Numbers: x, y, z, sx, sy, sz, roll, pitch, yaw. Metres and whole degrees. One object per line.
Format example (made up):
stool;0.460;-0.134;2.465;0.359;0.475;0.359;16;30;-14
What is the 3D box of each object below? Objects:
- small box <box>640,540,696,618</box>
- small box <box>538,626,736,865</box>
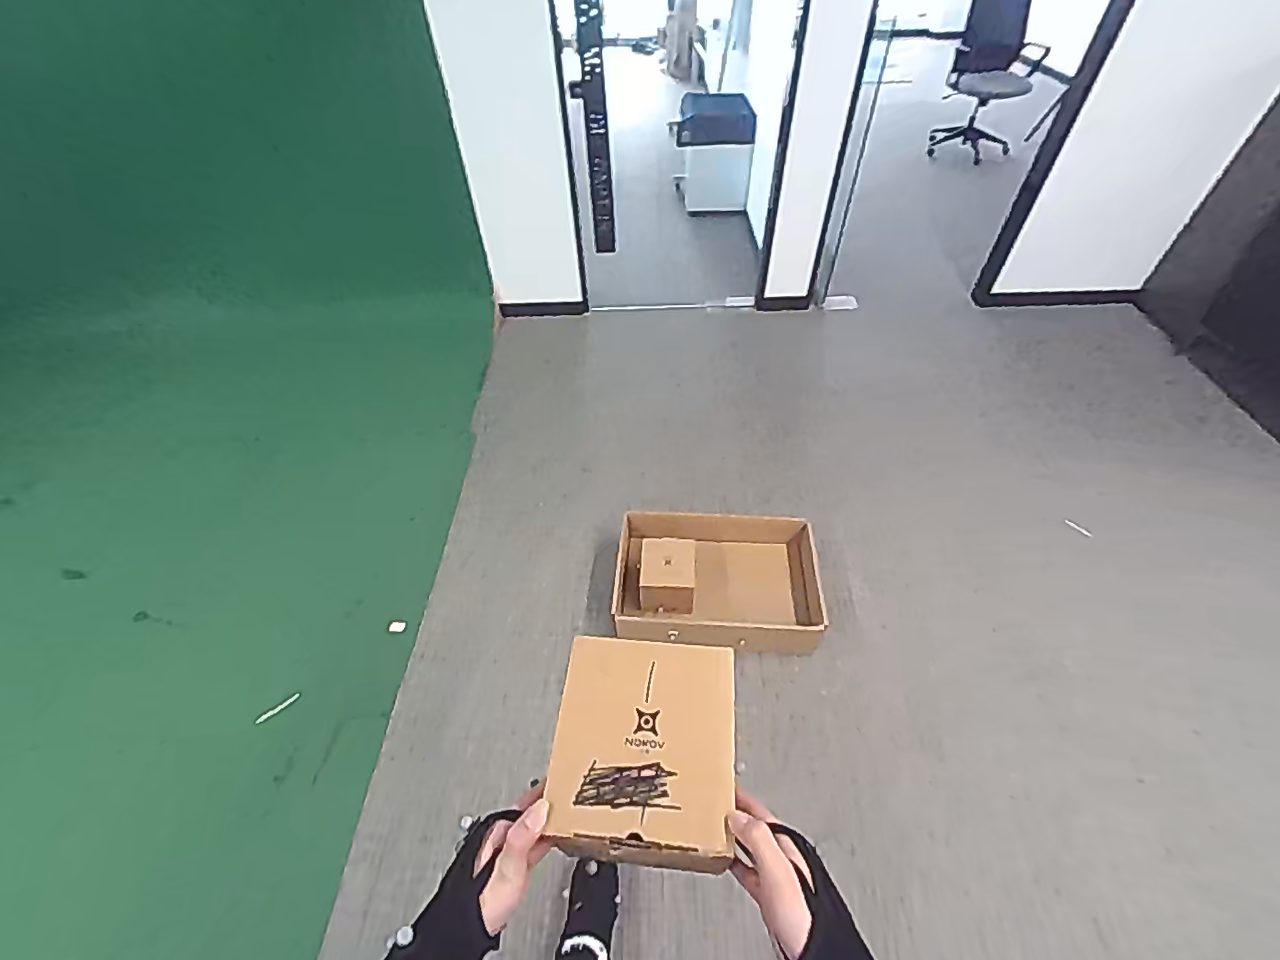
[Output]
small box;0.087;0.311;1.693;0.168;0.176;0.179;2;48;4
small box;0.009;0.273;0.554;0.168;0.176;0.179;4;48;6
